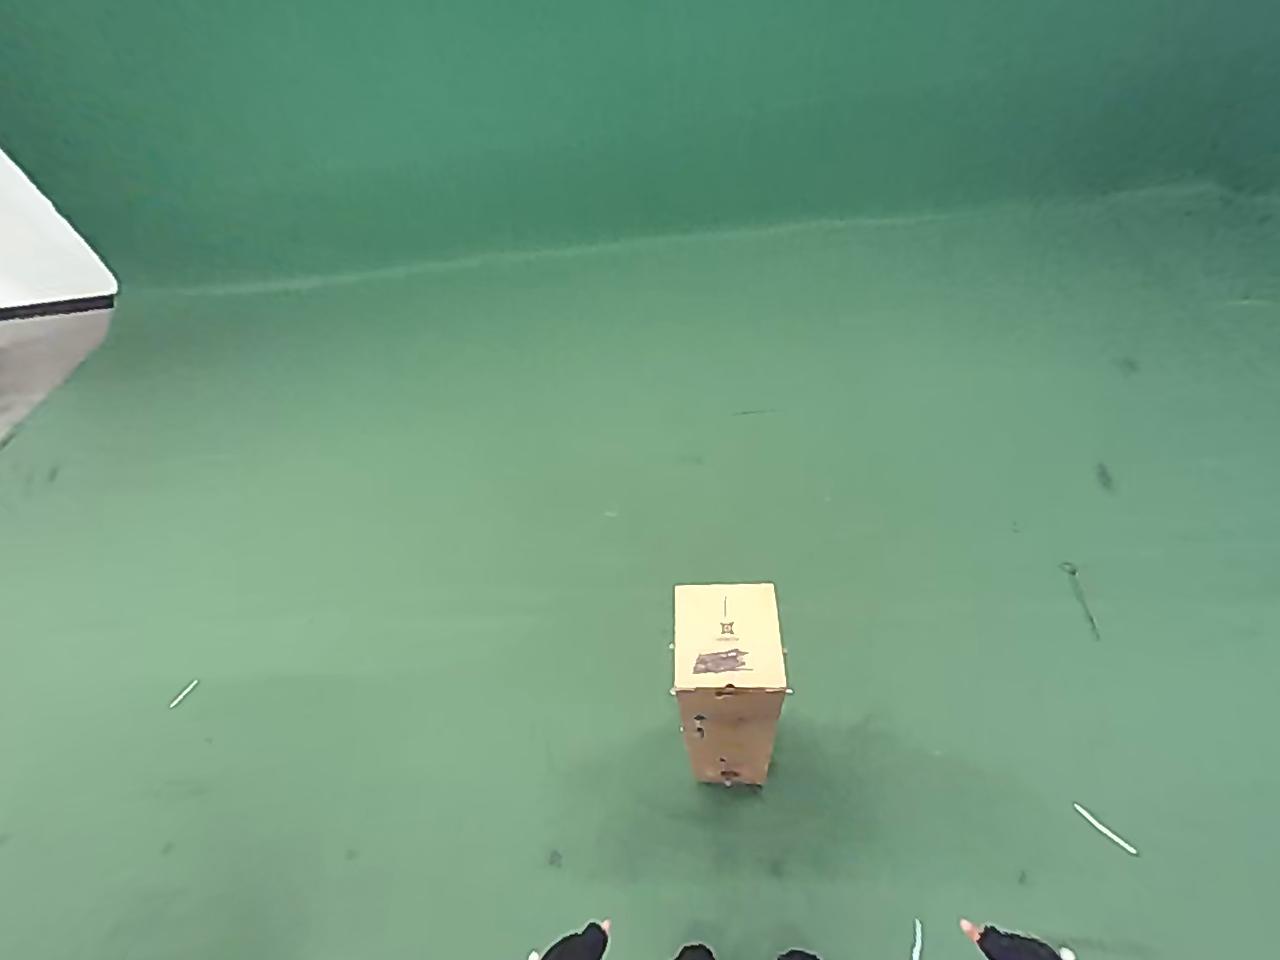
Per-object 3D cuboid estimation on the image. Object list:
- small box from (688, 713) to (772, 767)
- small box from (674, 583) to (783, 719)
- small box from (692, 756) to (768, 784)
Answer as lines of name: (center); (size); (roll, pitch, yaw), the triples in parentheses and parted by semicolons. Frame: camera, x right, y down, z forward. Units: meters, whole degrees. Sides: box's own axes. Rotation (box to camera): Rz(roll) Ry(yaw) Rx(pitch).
small box: (0.188, 0.501, 1.165); (0.168, 0.176, 0.179); (-3, 51, 7)
small box: (0.146, 0.293, 0.913); (0.168, 0.176, 0.179); (-3, 50, 7)
small box: (0.210, 0.605, 1.288); (0.168, 0.176, 0.179); (-2, 50, 8)
